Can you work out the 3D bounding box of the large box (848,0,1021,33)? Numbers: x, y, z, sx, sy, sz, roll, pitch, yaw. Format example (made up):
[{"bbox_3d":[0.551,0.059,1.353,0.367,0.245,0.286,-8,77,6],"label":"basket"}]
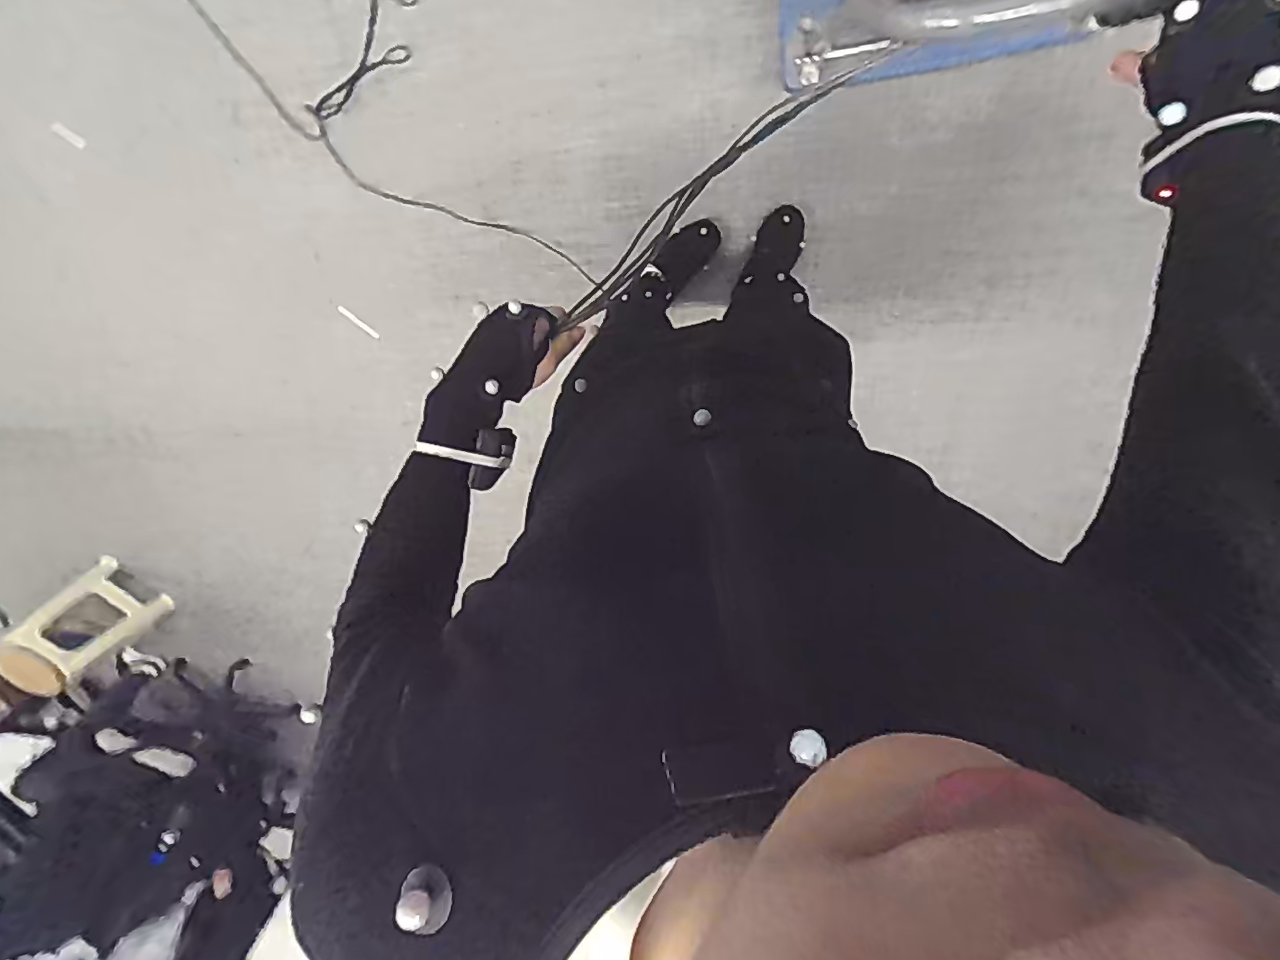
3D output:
[{"bbox_3d":[0.496,-0.961,0.789,0.320,0.320,0.408,-1,119,11],"label":"large box"}]
